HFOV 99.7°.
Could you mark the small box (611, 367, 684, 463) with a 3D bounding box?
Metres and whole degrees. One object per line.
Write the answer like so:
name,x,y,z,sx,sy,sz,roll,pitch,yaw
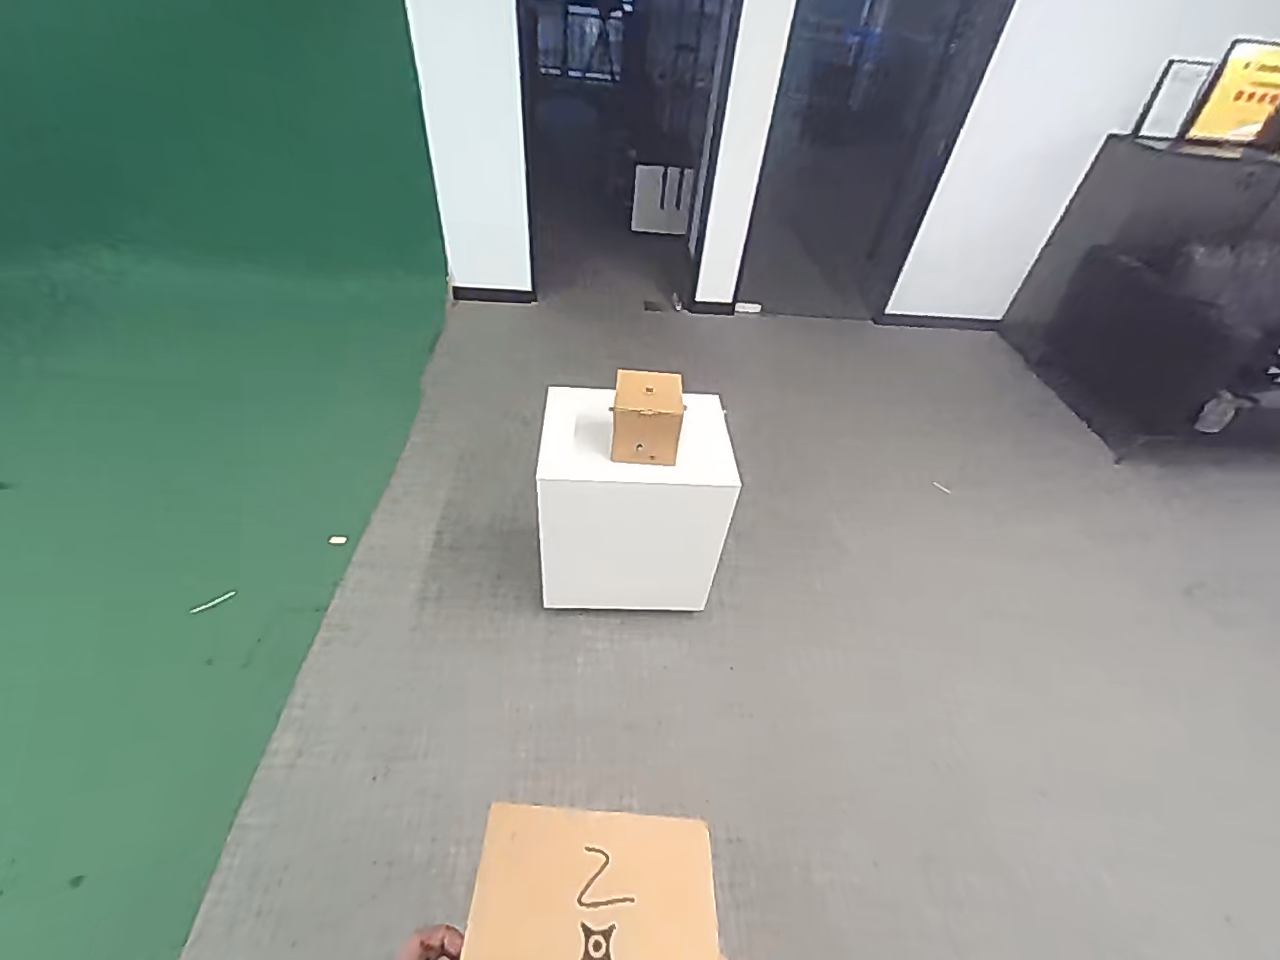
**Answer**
small box,0.015,-0.165,1.375,0.168,0.176,0.179,3,42,-3
